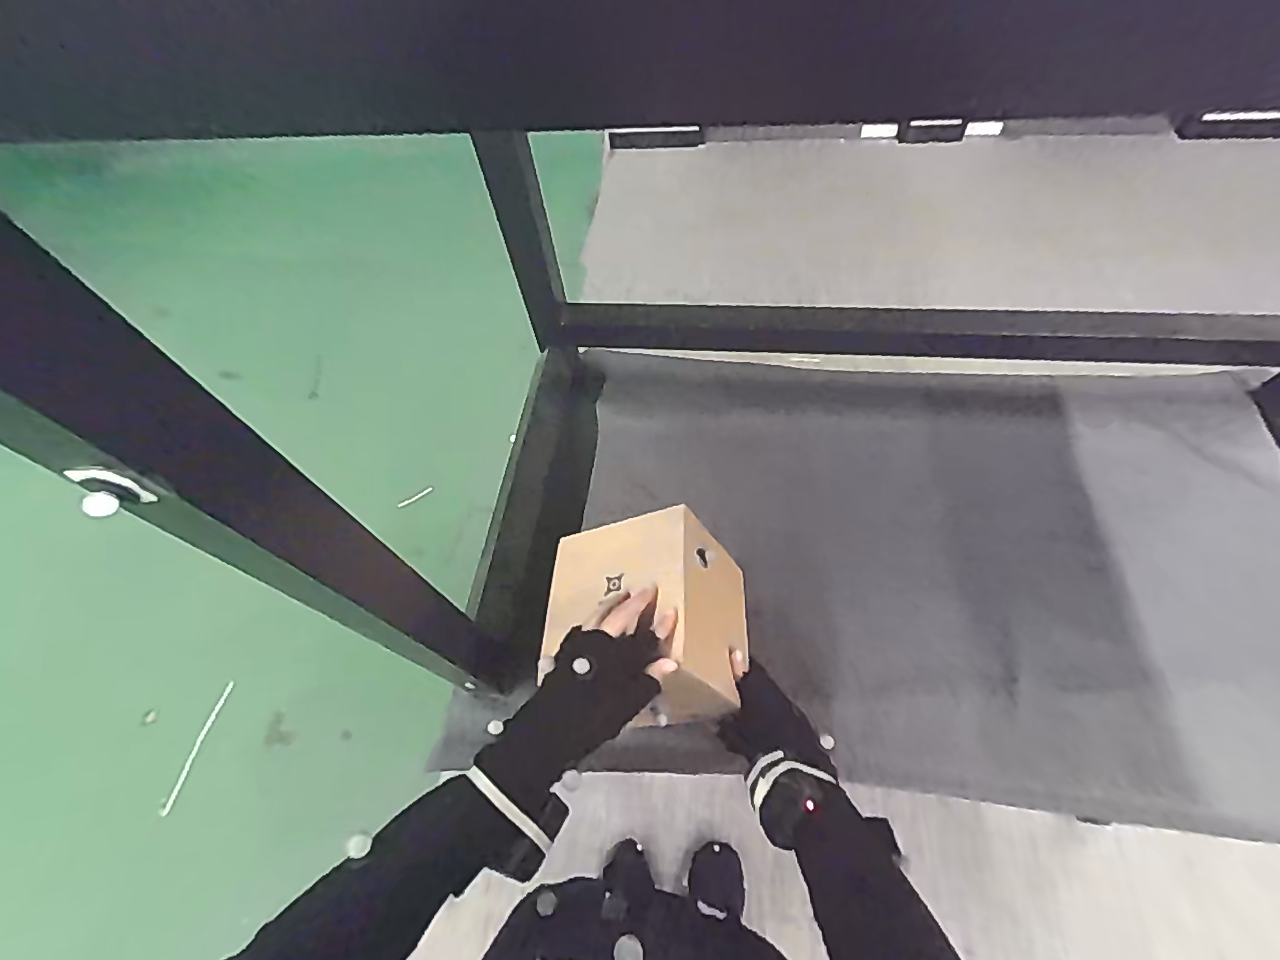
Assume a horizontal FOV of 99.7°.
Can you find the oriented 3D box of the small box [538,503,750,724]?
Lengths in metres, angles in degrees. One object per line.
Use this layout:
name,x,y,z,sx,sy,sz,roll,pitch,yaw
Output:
small box,0.014,0.156,0.606,0.168,0.176,0.179,-17,48,25
